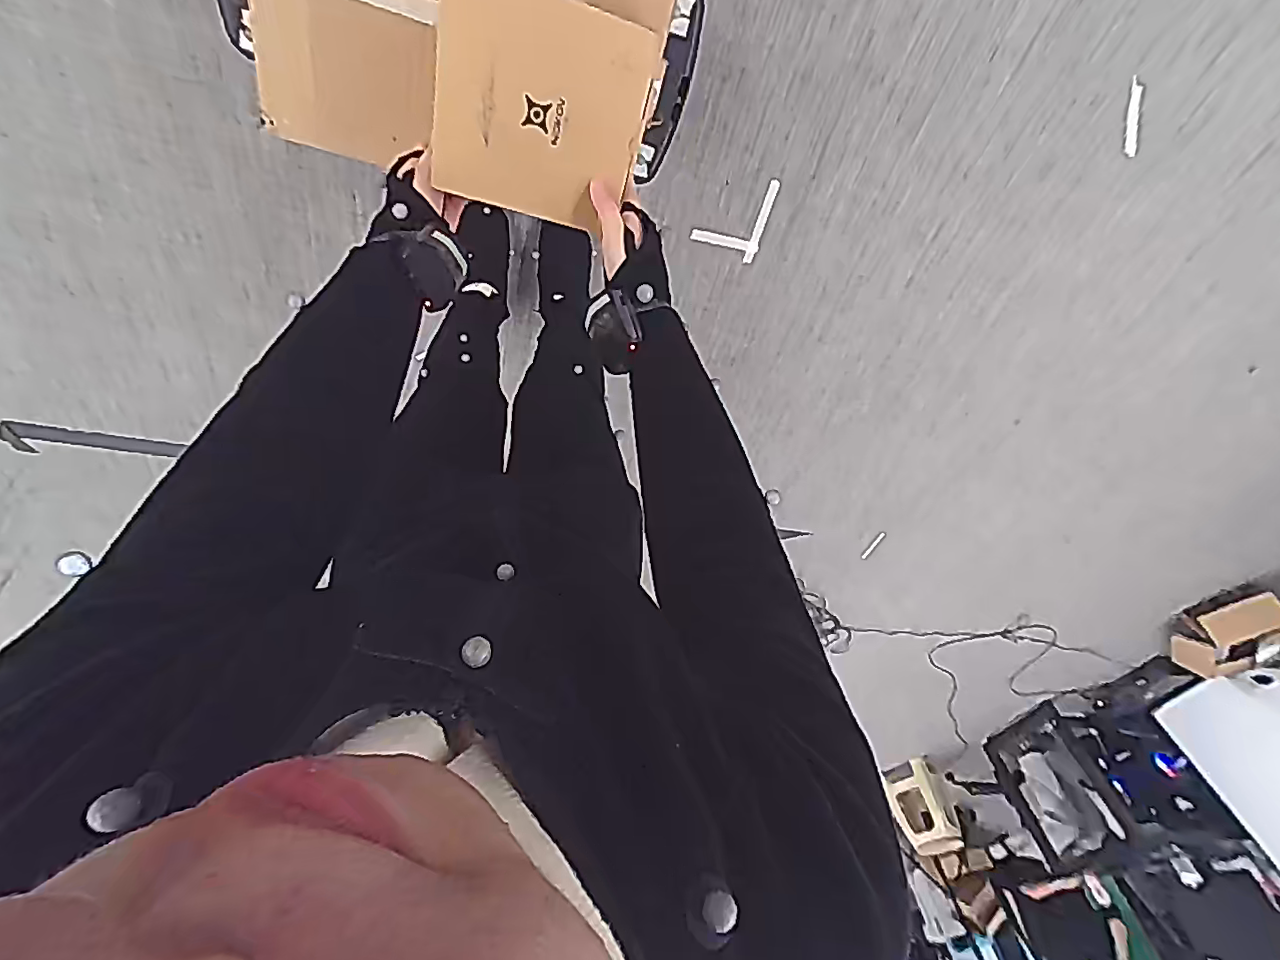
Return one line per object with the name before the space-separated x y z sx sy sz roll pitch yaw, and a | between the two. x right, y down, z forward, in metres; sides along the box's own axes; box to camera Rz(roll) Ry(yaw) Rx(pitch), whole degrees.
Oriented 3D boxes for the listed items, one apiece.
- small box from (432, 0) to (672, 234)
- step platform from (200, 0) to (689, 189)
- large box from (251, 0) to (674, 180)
small box | -0.088 -0.366 0.515 0.179 0.176 0.168 10 130 -15
step platform | -0.269 -0.712 0.831 0.684 0.204 0.286 14 128 -19
large box | -0.187 -0.560 0.658 0.408 0.320 0.320 9 129 -15
